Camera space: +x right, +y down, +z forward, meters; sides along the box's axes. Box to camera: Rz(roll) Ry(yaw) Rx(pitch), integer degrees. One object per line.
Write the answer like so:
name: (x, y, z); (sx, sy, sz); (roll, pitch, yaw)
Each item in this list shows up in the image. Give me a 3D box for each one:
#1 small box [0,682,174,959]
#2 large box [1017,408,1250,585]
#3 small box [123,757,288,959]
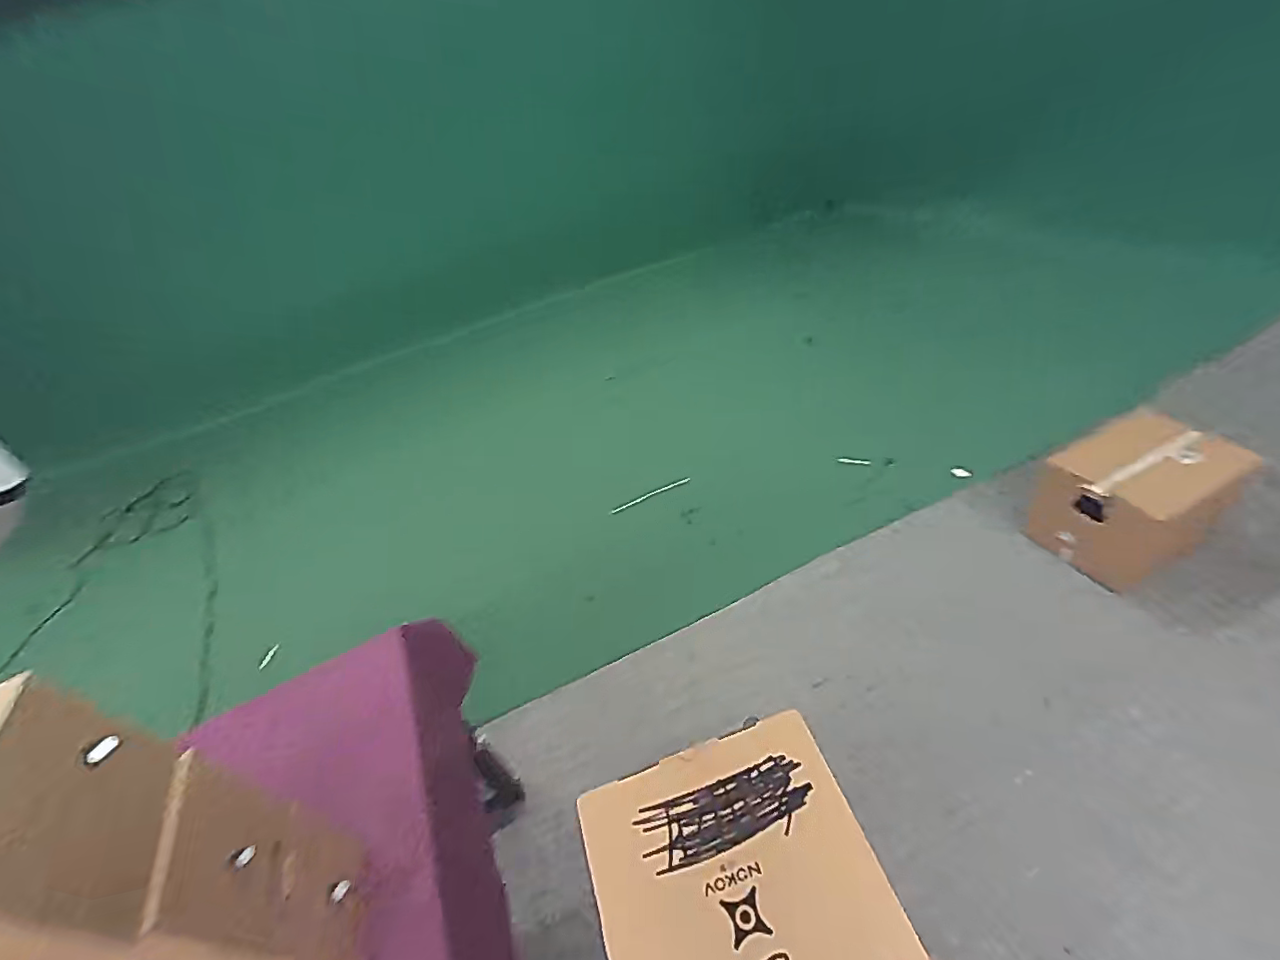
small box: (-0.518, 0.303, 0.419); (0.168, 0.176, 0.179); (-27, 43, -11)
large box: (1.452, 0.043, 1.630); (0.408, 0.320, 0.320); (-24, 41, -12)
small box: (-0.482, 0.418, 0.530); (0.179, 0.176, 0.168); (-26, 41, -11)
